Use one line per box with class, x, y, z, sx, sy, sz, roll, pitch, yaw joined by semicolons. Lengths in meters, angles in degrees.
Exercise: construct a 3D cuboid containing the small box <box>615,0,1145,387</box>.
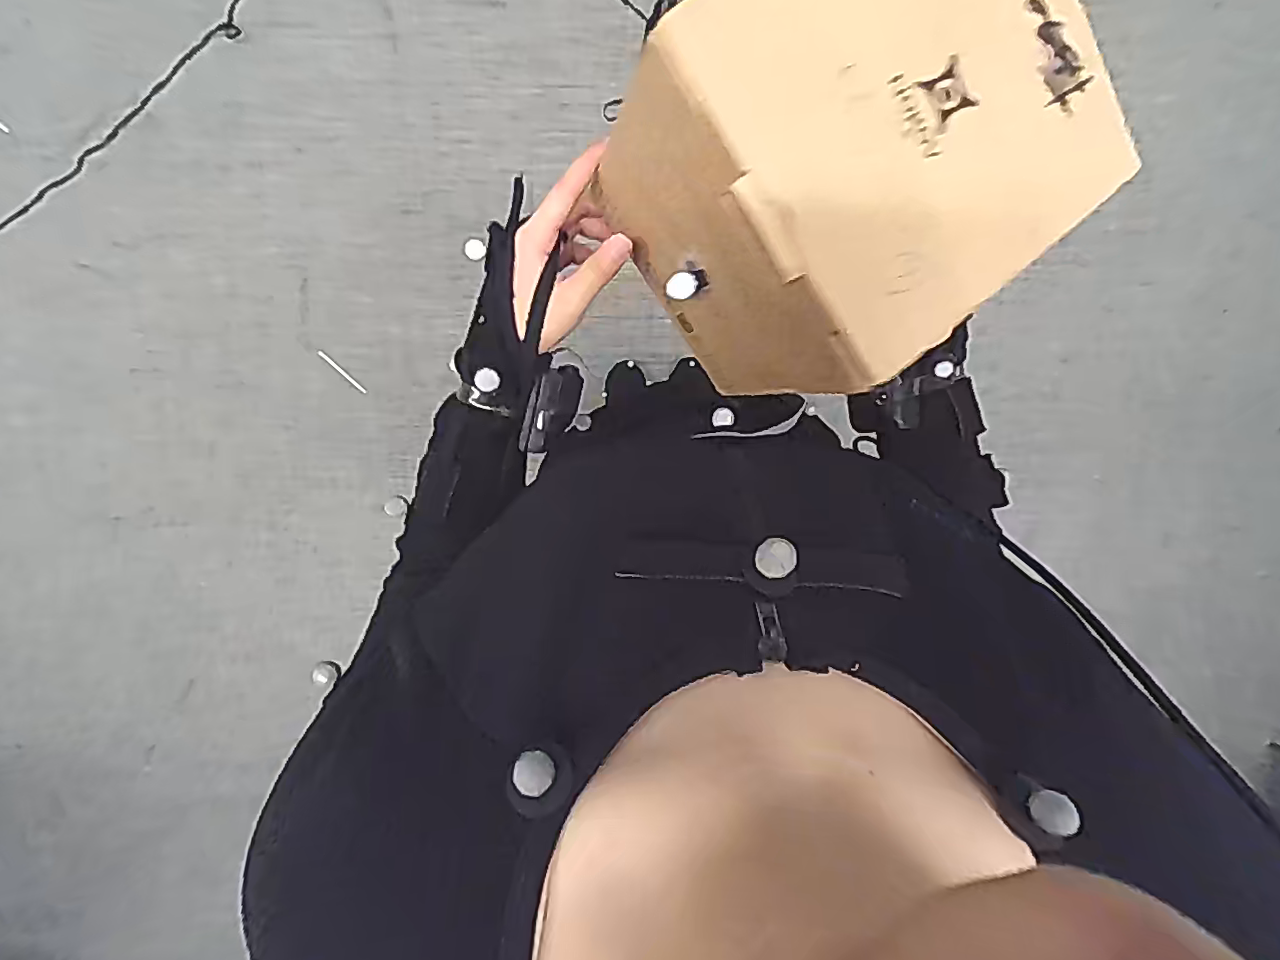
small box;0.101;-0.164;0.299;0.179;0.176;0.168;-39;105;-6
